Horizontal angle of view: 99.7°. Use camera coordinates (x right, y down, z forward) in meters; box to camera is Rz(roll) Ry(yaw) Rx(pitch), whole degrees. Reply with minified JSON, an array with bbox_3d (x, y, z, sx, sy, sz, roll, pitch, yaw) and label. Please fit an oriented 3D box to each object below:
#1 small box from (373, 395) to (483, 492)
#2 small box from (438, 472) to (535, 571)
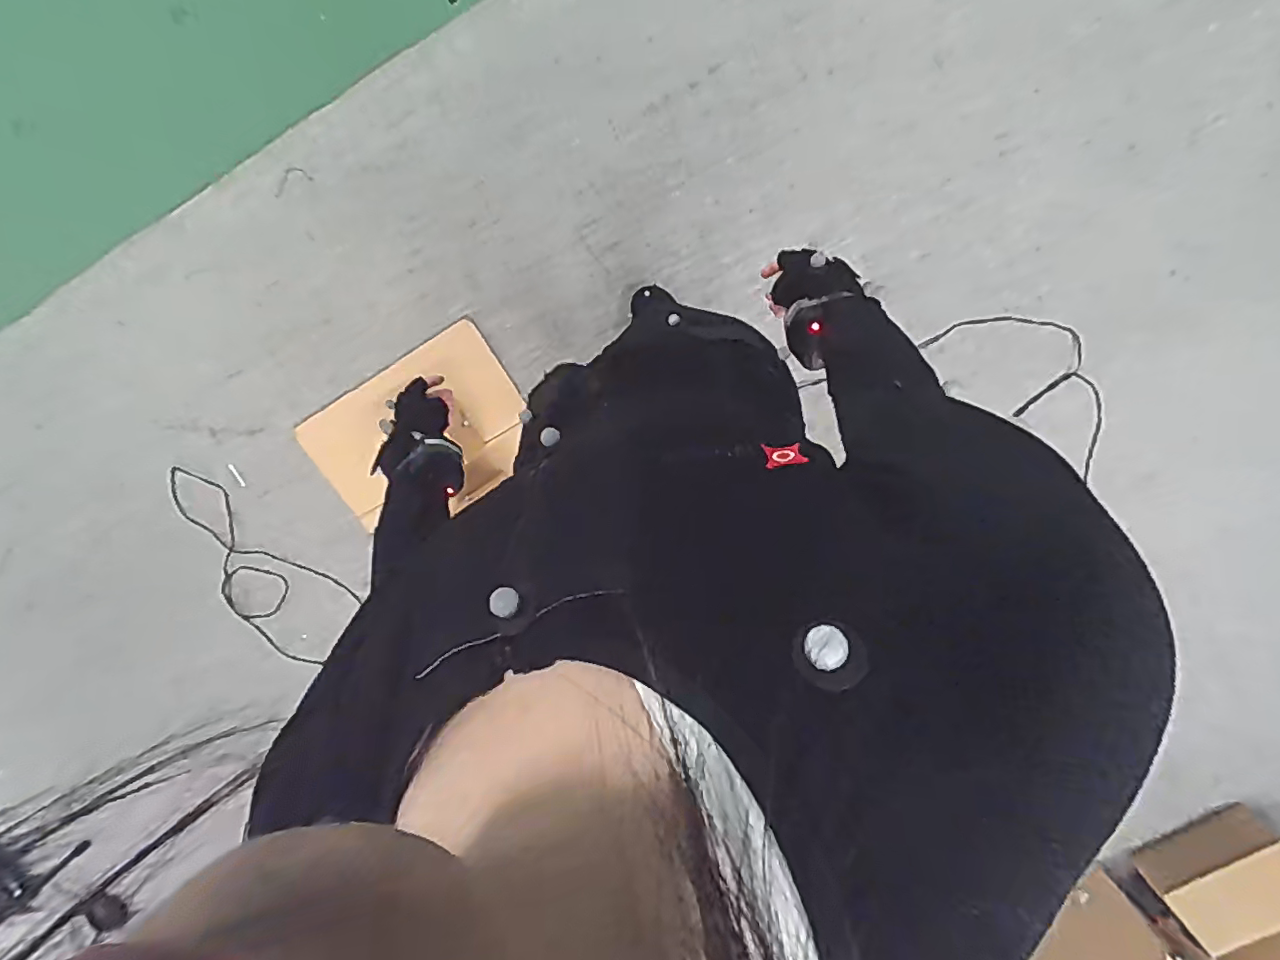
[{"bbox_3d":[-0.536,-0.098,1.394,0.179,0.176,0.168,-29,107,10],"label":"small box"},{"bbox_3d":[-0.401,0.104,1.455,0.179,0.176,0.168,-33,105,12],"label":"small box"}]
